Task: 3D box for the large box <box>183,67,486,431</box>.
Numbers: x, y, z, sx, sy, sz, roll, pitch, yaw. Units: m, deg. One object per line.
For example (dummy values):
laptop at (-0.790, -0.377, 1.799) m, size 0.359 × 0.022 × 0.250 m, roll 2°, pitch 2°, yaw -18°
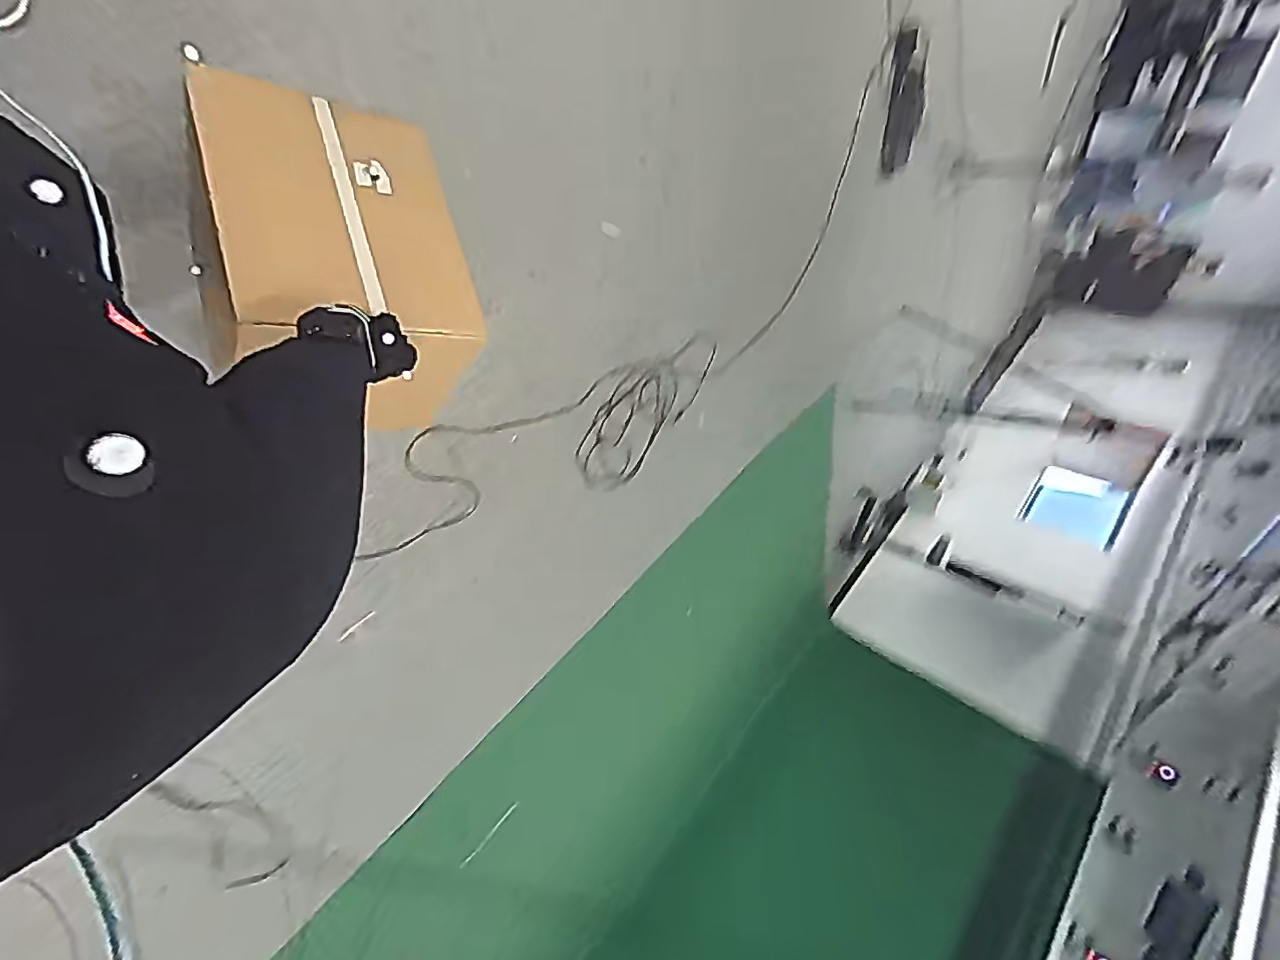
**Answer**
large box at (-0.504, -0.335, 0.885) m, size 0.320 × 0.408 × 0.320 m, roll -11°, pitch 165°, yaw -42°
